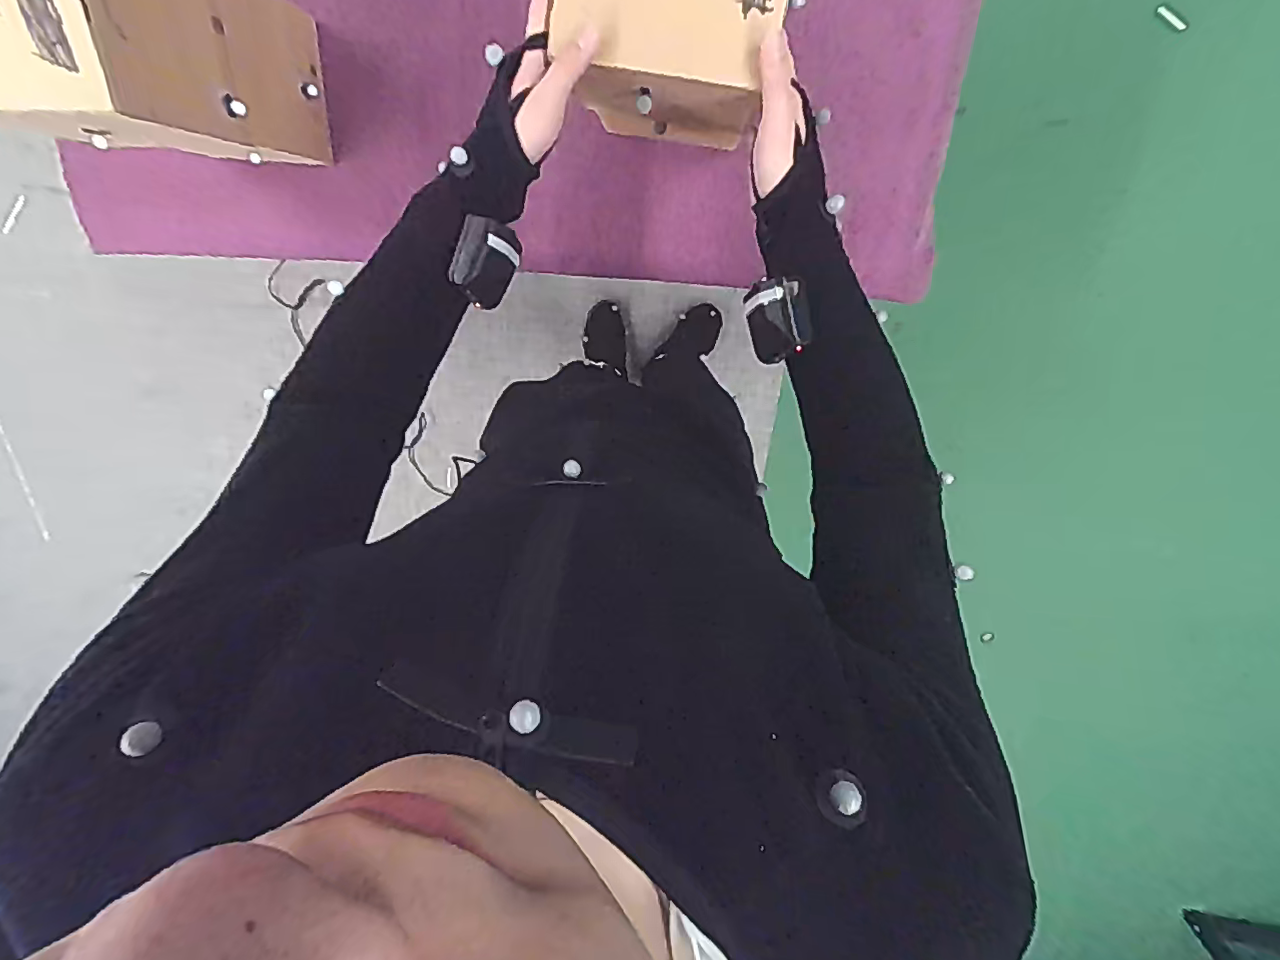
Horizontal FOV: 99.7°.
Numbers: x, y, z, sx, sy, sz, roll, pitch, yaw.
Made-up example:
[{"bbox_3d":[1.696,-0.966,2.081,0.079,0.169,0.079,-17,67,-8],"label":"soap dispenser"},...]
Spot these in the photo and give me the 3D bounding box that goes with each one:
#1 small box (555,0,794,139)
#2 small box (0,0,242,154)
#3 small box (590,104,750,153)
[{"bbox_3d":[0.038,-0.411,0.463,0.179,0.176,0.168,10,113,1],"label":"small box"},{"bbox_3d":[-0.510,-0.409,0.496,0.179,0.176,0.168,3,112,3],"label":"small box"},{"bbox_3d":[0.050,-0.484,0.610,0.179,0.176,0.168,10,113,1],"label":"small box"}]
